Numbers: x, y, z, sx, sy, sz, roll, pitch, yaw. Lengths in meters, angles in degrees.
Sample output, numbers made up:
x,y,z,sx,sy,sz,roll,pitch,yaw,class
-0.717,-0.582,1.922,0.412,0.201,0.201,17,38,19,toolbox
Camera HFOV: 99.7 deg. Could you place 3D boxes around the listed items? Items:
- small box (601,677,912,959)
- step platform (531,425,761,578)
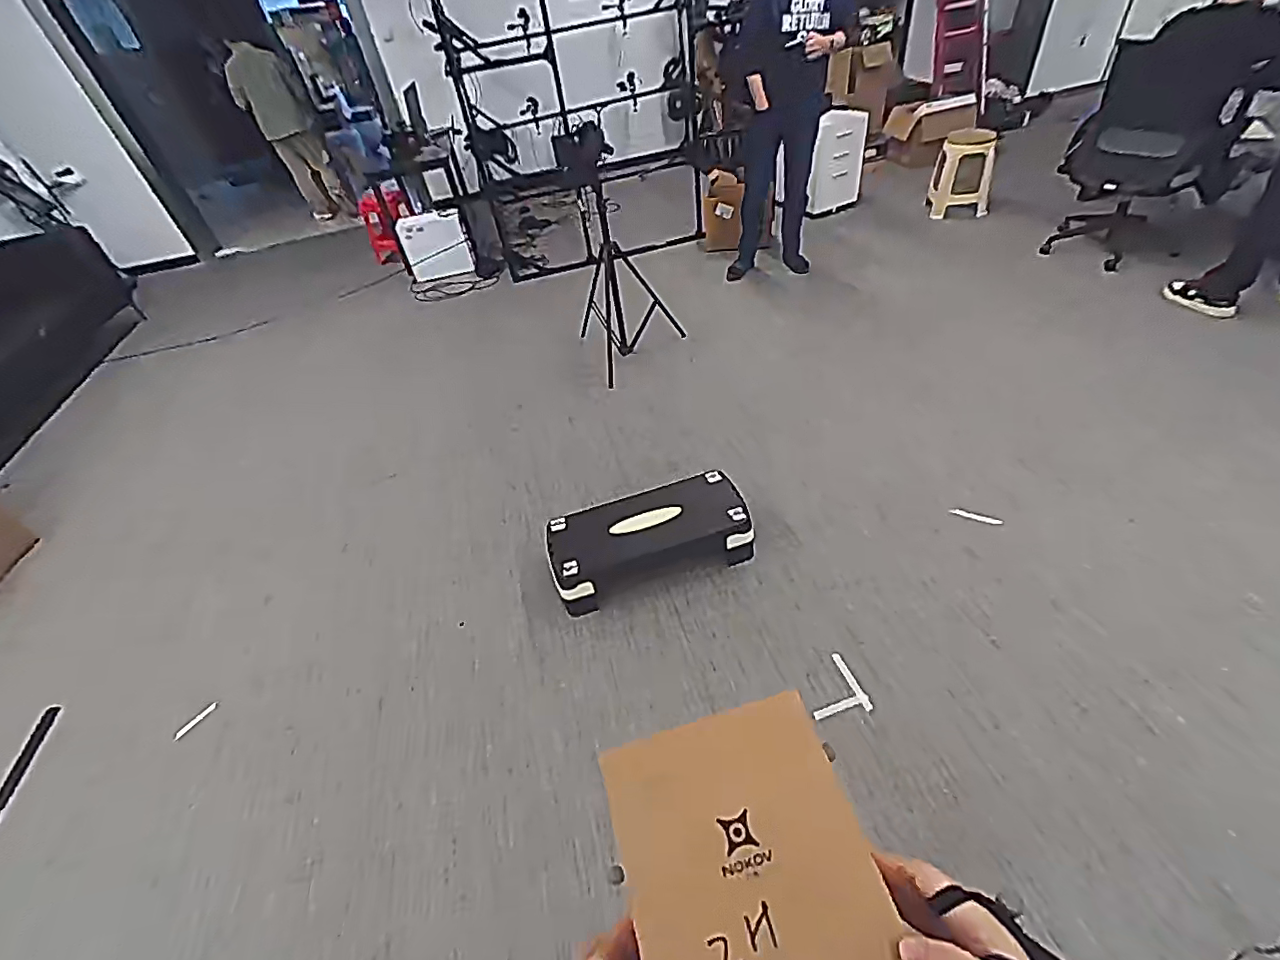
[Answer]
x,y,z,sx,sy,sz,roll,pitch,yaw,class
0.074,0.291,0.437,0.168,0.176,0.179,-16,53,-6,small box
0.022,0.063,1.681,0.684,0.204,0.286,-17,42,-8,step platform
